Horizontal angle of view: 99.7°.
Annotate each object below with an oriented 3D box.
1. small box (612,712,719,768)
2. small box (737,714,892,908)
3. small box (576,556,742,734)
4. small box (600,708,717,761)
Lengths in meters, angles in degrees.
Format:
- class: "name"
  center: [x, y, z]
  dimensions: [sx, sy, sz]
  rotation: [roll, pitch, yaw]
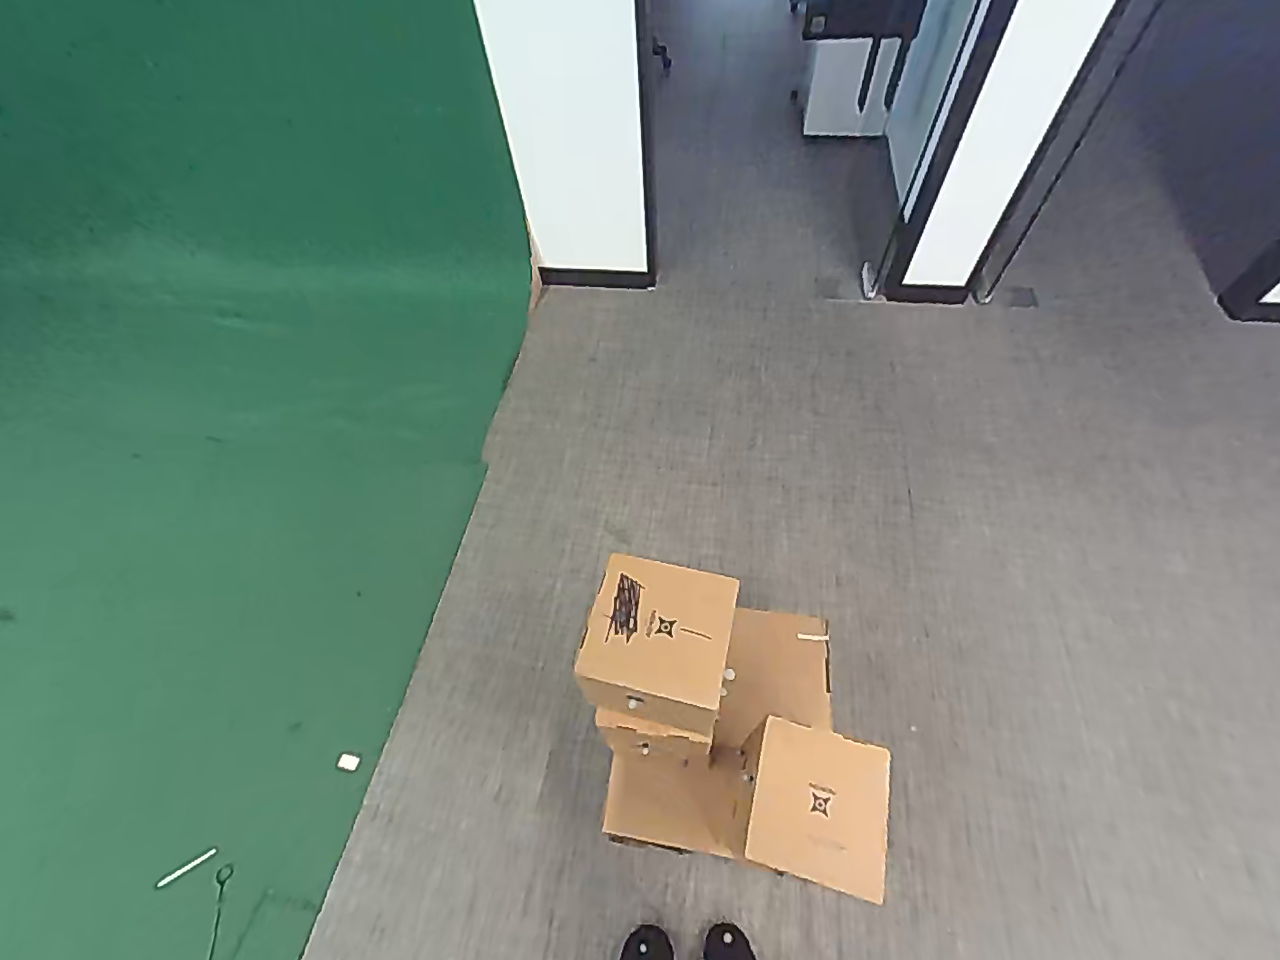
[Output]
- class: "small box"
  center: [0.054, 0.420, 0.993]
  dimensions: [0.179, 0.176, 0.168]
  rotation: [4, 55, 7]
- class: "small box"
  center: [0.236, 0.456, 0.756]
  dimensions: [0.168, 0.176, 0.179]
  rotation: [13, 58, 12]
- class: "small box"
  center: [0.031, 0.227, 0.730]
  dimensions: [0.179, 0.176, 0.168]
  rotation: [11, 57, 10]
- class: "small box"
  center: [0.040, 0.328, 0.860]
  dimensions: [0.168, 0.176, 0.179]
  rotation: [6, 57, 8]
